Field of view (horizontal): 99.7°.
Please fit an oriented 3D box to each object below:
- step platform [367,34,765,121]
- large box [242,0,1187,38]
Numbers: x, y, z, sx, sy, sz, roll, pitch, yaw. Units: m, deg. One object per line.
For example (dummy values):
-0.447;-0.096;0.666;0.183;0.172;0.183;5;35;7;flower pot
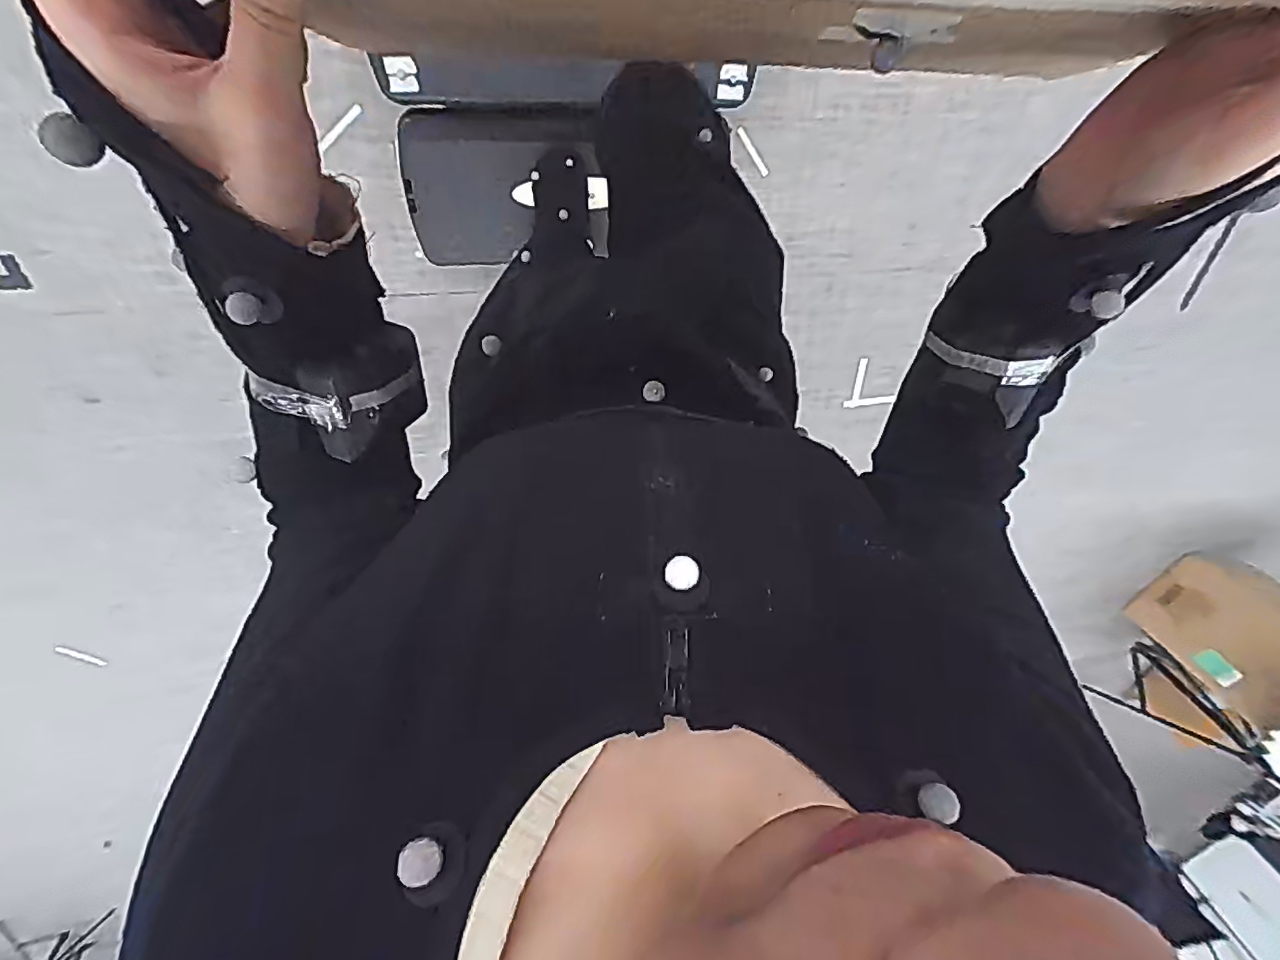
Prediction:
-0.120;-0.821;0.933;0.684;0.204;0.286;-2;126;-11;step platform
0.024;-0.306;0.095;0.408;0.320;0.320;1;120;1;large box
